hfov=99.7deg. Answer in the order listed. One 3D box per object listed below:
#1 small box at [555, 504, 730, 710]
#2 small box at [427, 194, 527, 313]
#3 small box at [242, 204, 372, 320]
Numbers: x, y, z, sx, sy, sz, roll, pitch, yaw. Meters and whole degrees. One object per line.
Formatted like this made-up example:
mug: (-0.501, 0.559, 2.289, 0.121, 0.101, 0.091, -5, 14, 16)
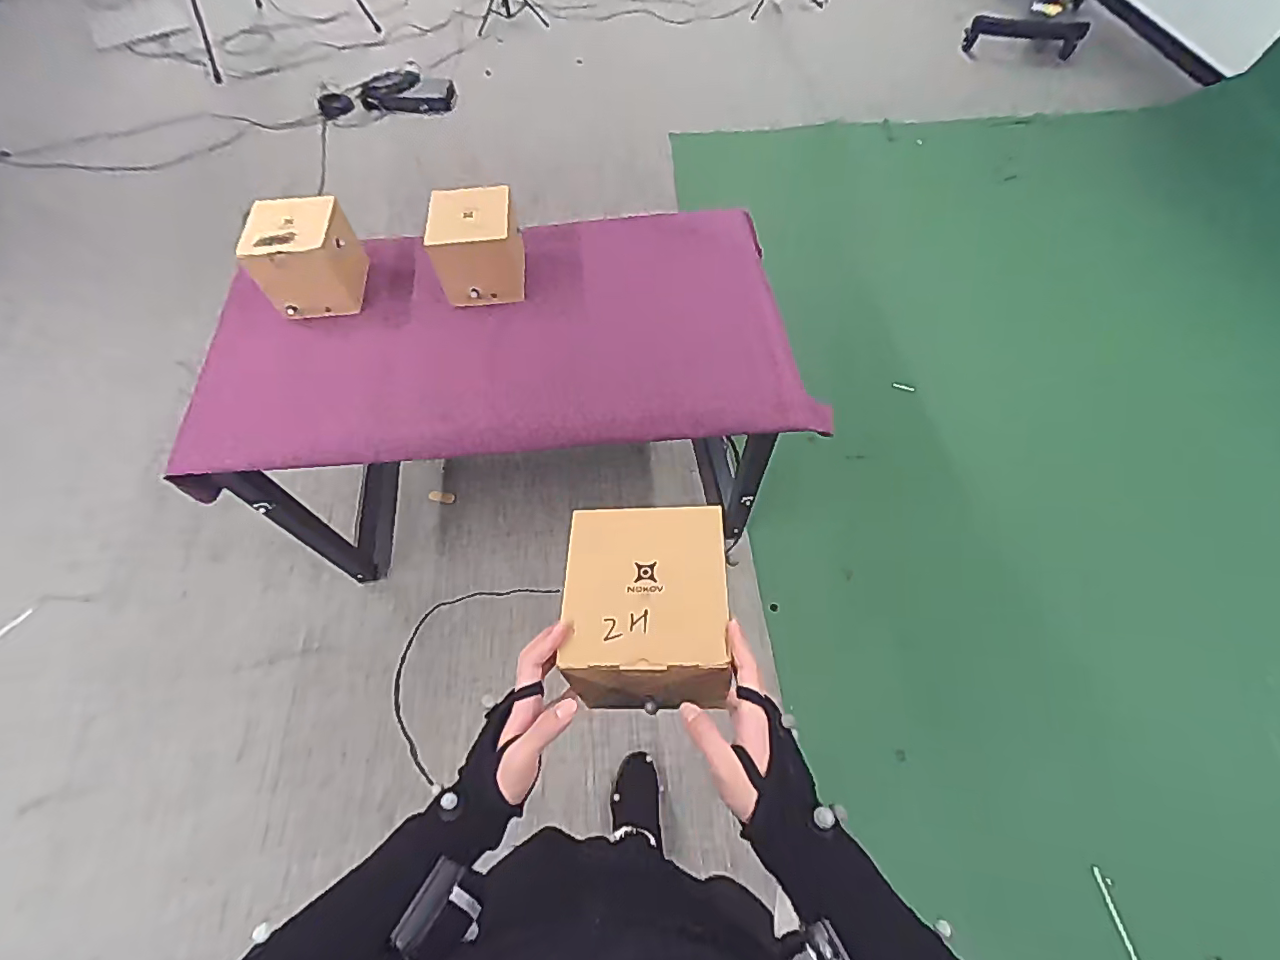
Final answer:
small box: (0.013, 0.145, 0.612, 0.168, 0.176, 0.179, -2, 54, 7)
small box: (-0.346, -0.491, 1.180, 0.168, 0.176, 0.179, -5, 61, -1)
small box: (-0.703, -0.461, 1.165, 0.168, 0.176, 0.179, -6, 60, -3)
